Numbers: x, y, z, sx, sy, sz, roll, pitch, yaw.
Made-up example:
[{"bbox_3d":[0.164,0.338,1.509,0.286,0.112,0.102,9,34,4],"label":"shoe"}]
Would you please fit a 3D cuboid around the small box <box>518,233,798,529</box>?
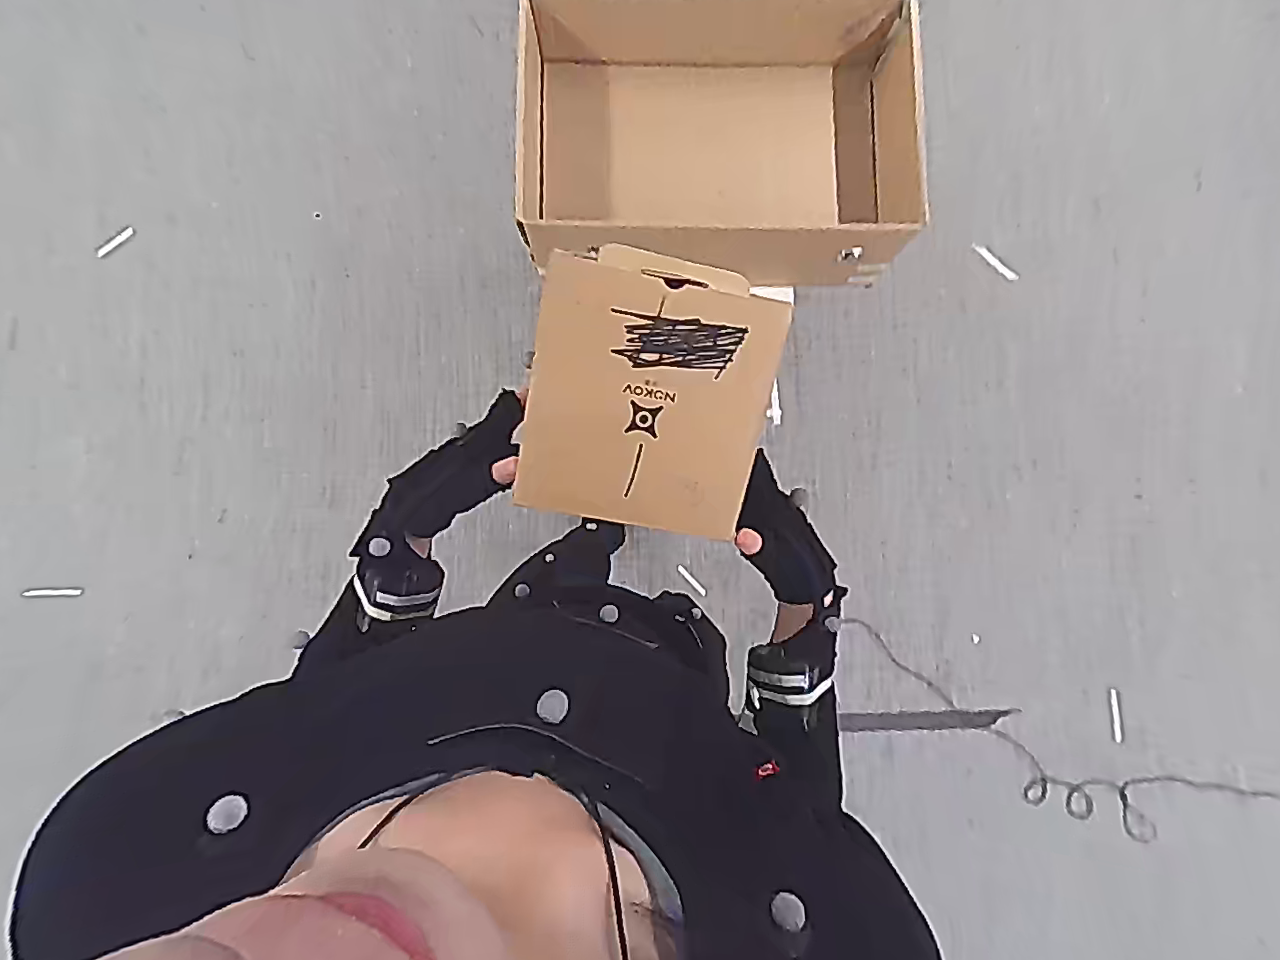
[{"bbox_3d":[0.005,-0.080,0.448,0.168,0.176,0.179,11,104,-6],"label":"small box"}]
